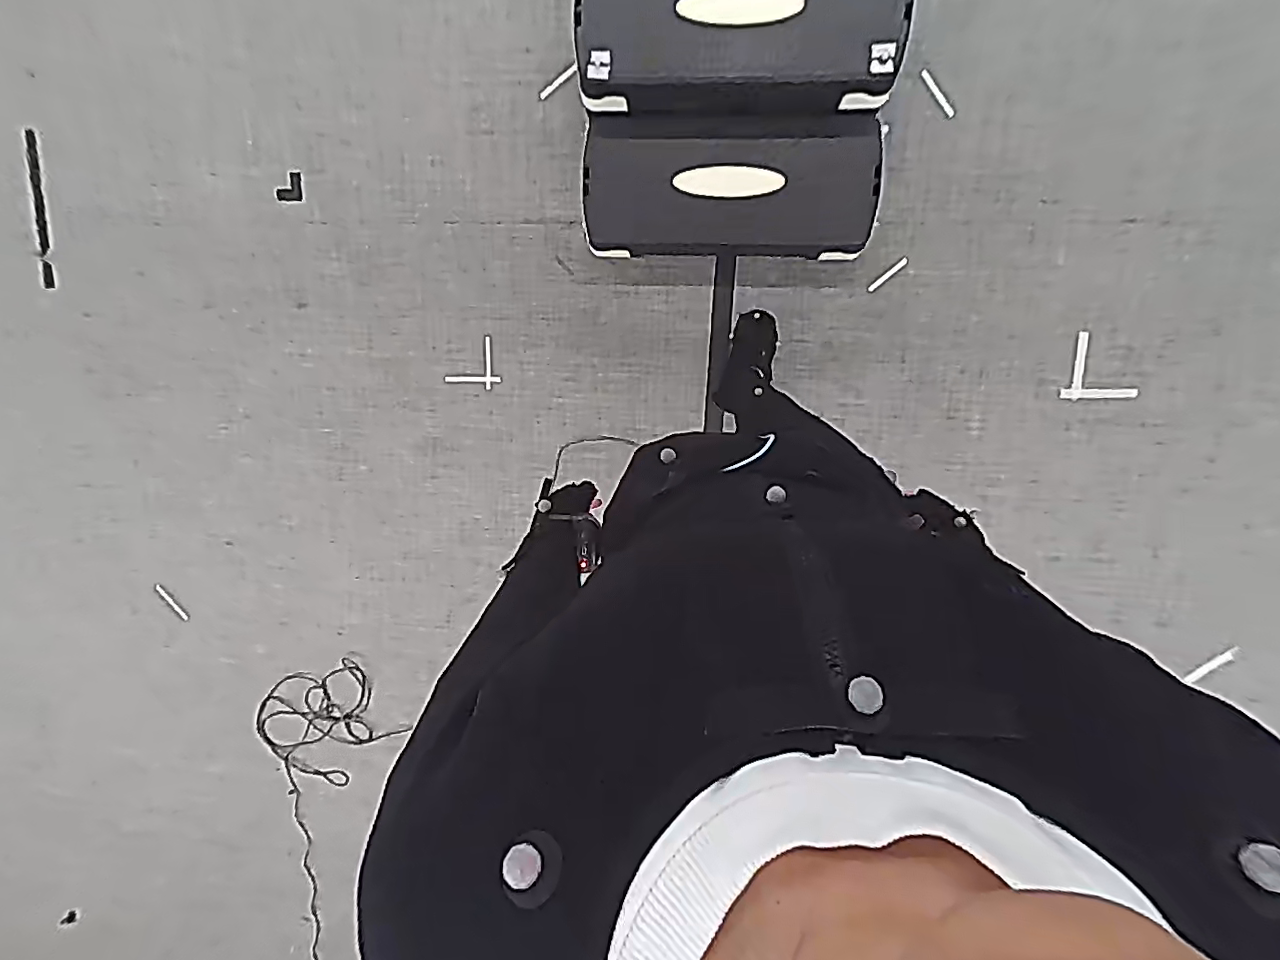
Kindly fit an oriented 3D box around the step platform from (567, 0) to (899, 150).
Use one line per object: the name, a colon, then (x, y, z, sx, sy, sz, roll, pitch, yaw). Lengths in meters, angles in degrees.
step platform: (0.185, -0.915, 1.171, 0.684, 0.204, 0.286, 1, 101, 4)
